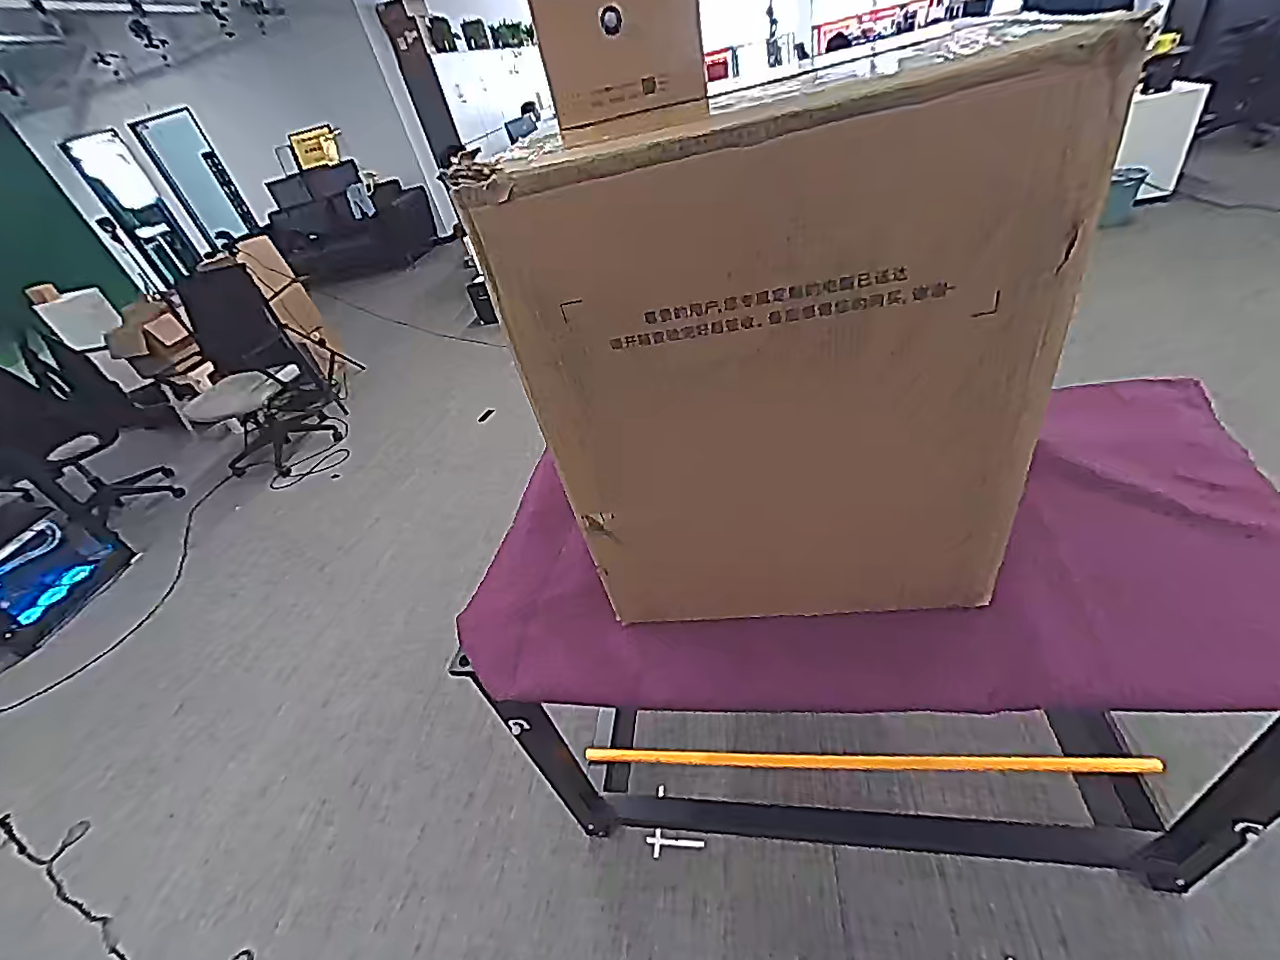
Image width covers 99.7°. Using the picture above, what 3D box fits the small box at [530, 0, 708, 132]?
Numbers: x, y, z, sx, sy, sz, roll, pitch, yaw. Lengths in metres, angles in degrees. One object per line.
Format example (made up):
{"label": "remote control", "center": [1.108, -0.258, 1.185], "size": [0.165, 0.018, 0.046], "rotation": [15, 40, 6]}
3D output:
{"label": "small box", "center": [-0.020, -0.502, 0.597], "size": [0.168, 0.176, 0.179], "rotation": [-8, 38, 6]}
